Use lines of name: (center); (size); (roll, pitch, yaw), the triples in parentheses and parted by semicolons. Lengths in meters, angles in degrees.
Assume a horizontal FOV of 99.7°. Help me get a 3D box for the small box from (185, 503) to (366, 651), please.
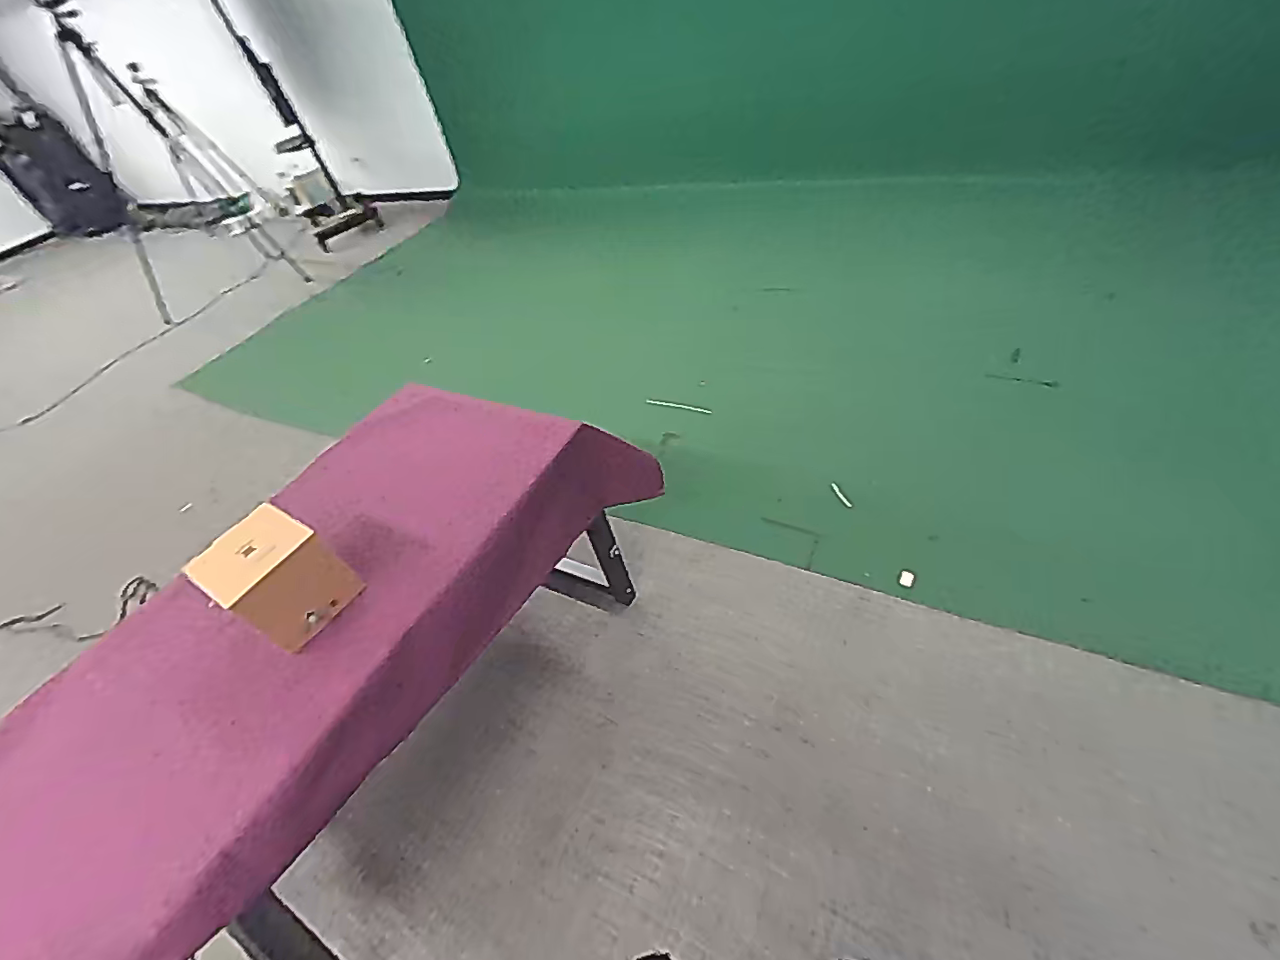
small box: (-0.638, 0.175, 0.962); (0.179, 0.176, 0.168); (19, 55, 30)
